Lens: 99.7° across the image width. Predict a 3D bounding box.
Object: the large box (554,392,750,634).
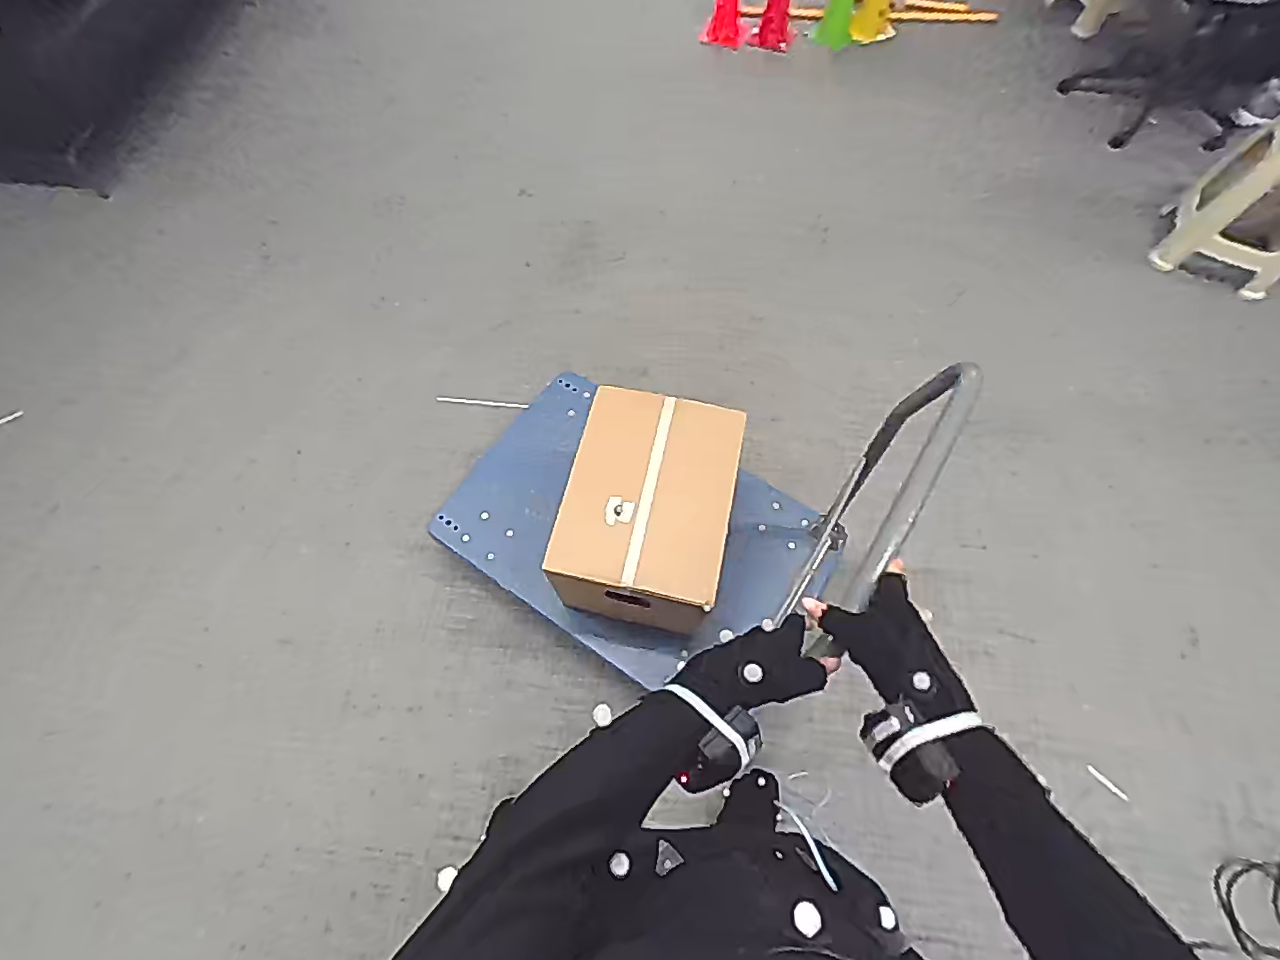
[{"bbox_3d":[0.033,0.080,1.164,0.320,0.320,0.408,12,67,6],"label":"large box"}]
